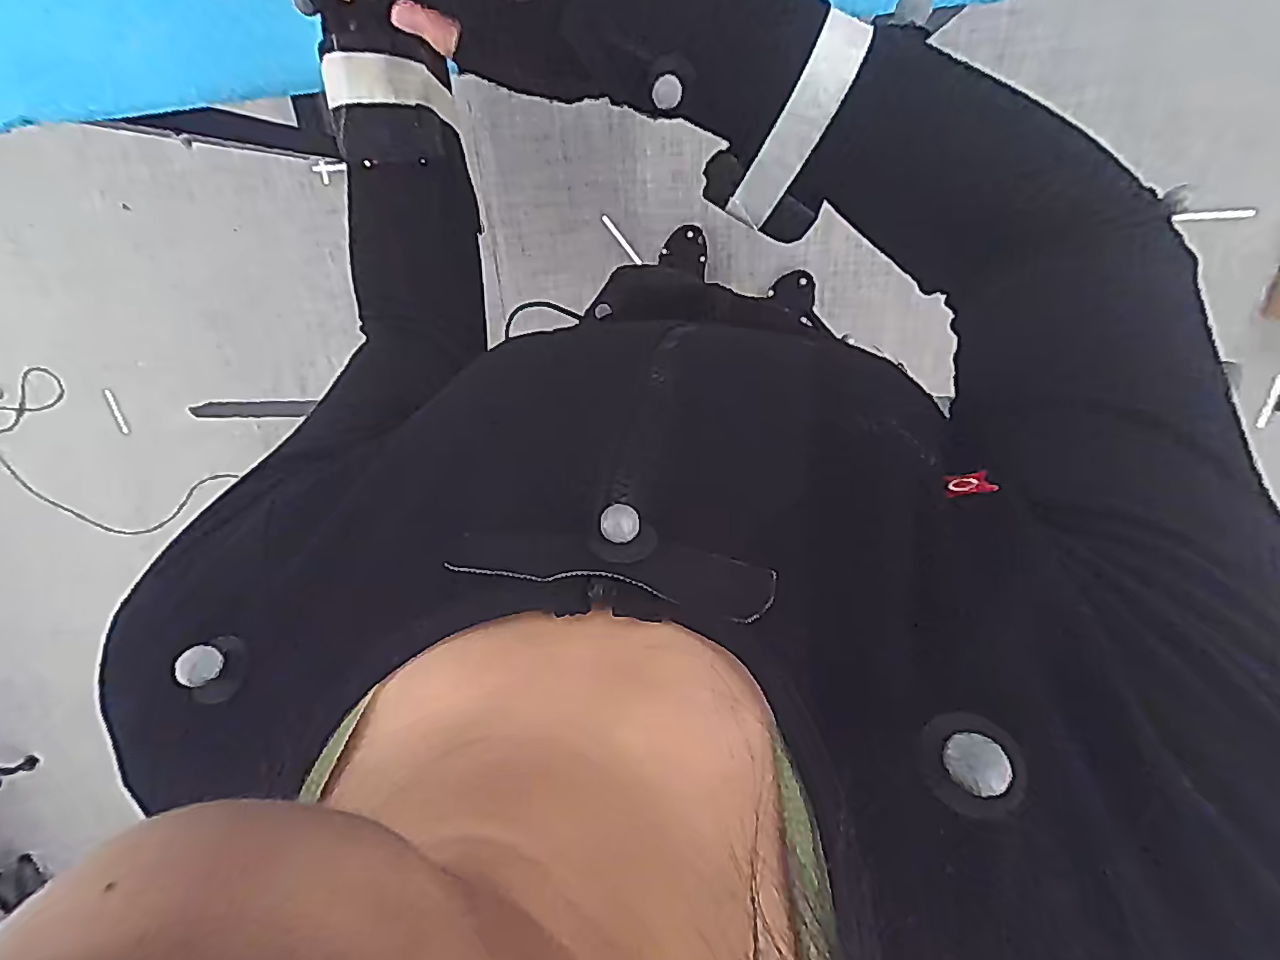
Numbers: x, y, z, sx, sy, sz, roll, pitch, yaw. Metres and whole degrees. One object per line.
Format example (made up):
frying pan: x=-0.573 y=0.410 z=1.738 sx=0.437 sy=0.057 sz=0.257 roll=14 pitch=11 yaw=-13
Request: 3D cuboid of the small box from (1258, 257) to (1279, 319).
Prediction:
small box: x=1.466 y=-0.416 z=1.116 sx=0.168 sy=0.176 sz=0.179 roll=1 pitch=115 yaw=5
